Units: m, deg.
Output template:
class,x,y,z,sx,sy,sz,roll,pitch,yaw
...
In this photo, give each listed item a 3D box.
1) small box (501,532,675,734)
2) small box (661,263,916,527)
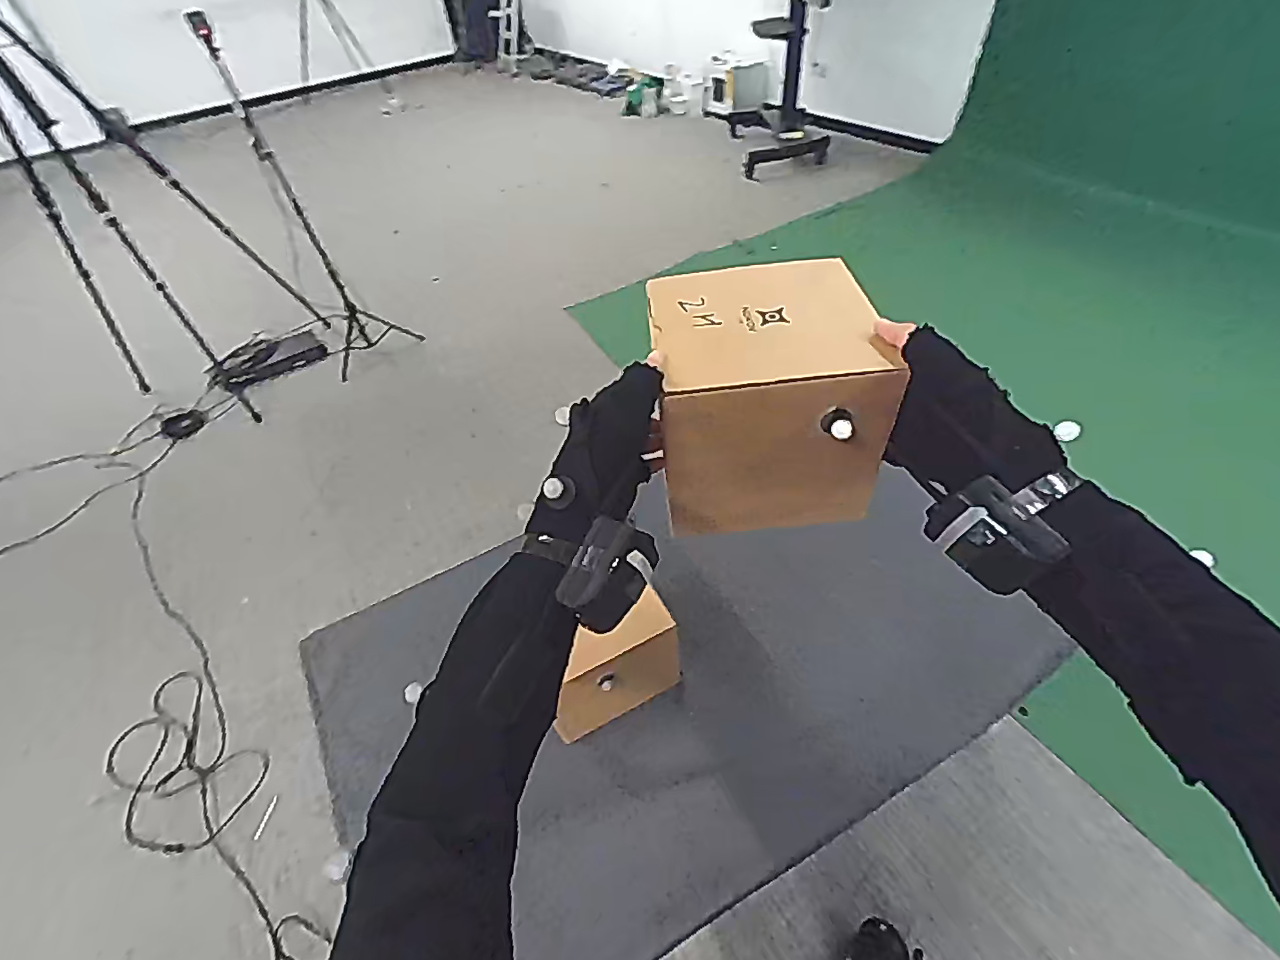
class,x,y,z,sx,sy,sz,roll,pitch,yaw
small box,-0.063,0.209,0.732,0.179,0.176,0.168,-24,49,-16
small box,0.113,-0.074,0.495,0.179,0.176,0.168,-5,47,2
